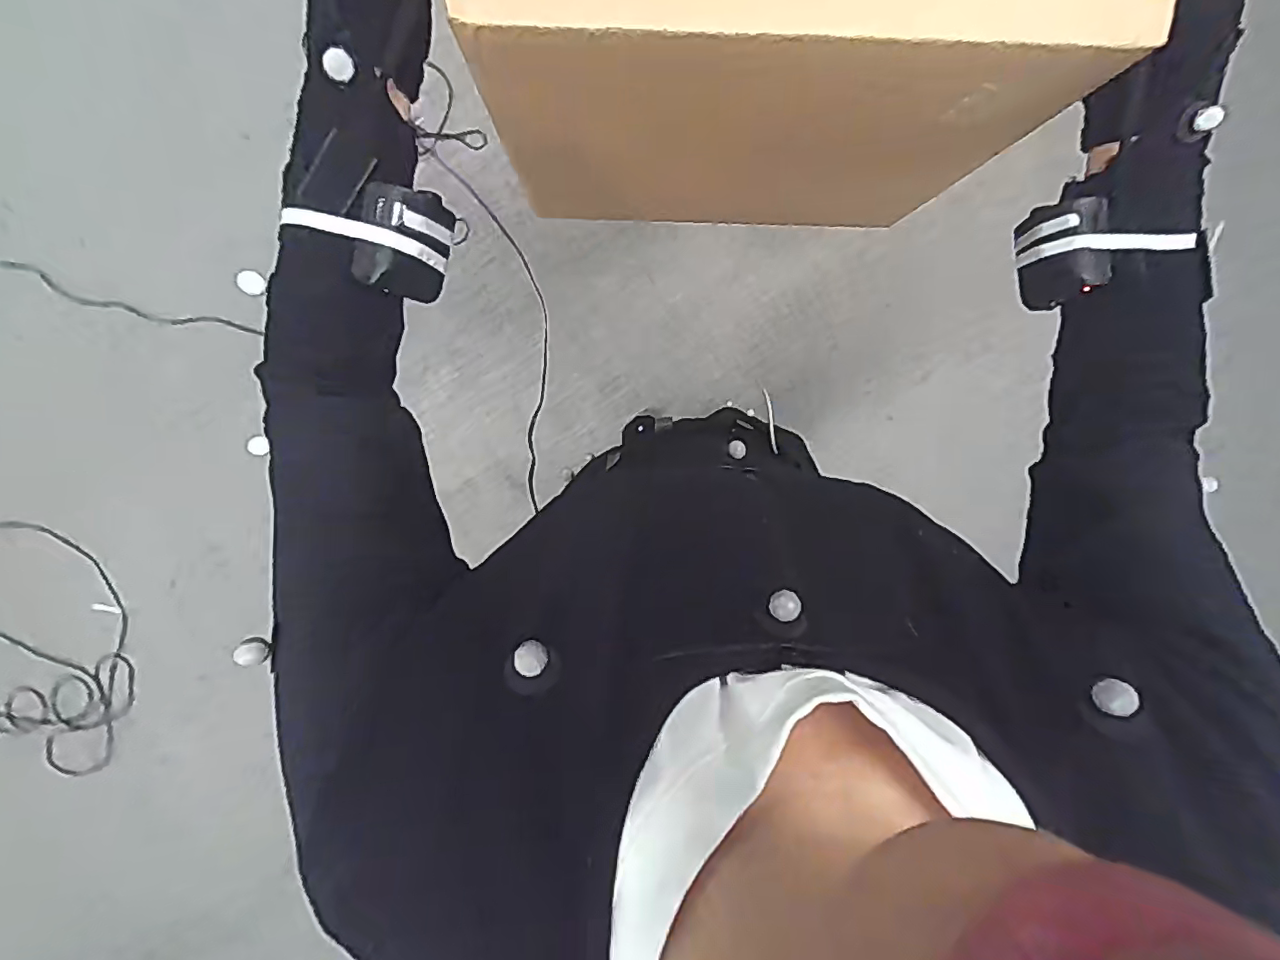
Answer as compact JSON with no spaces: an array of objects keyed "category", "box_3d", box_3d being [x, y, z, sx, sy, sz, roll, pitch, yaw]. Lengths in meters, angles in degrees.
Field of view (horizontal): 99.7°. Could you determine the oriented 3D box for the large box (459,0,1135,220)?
[{"category":"large box","box_3d":[0.082,-0.427,0.440,0.408,0.320,0.320,-1,98,-3]}]
